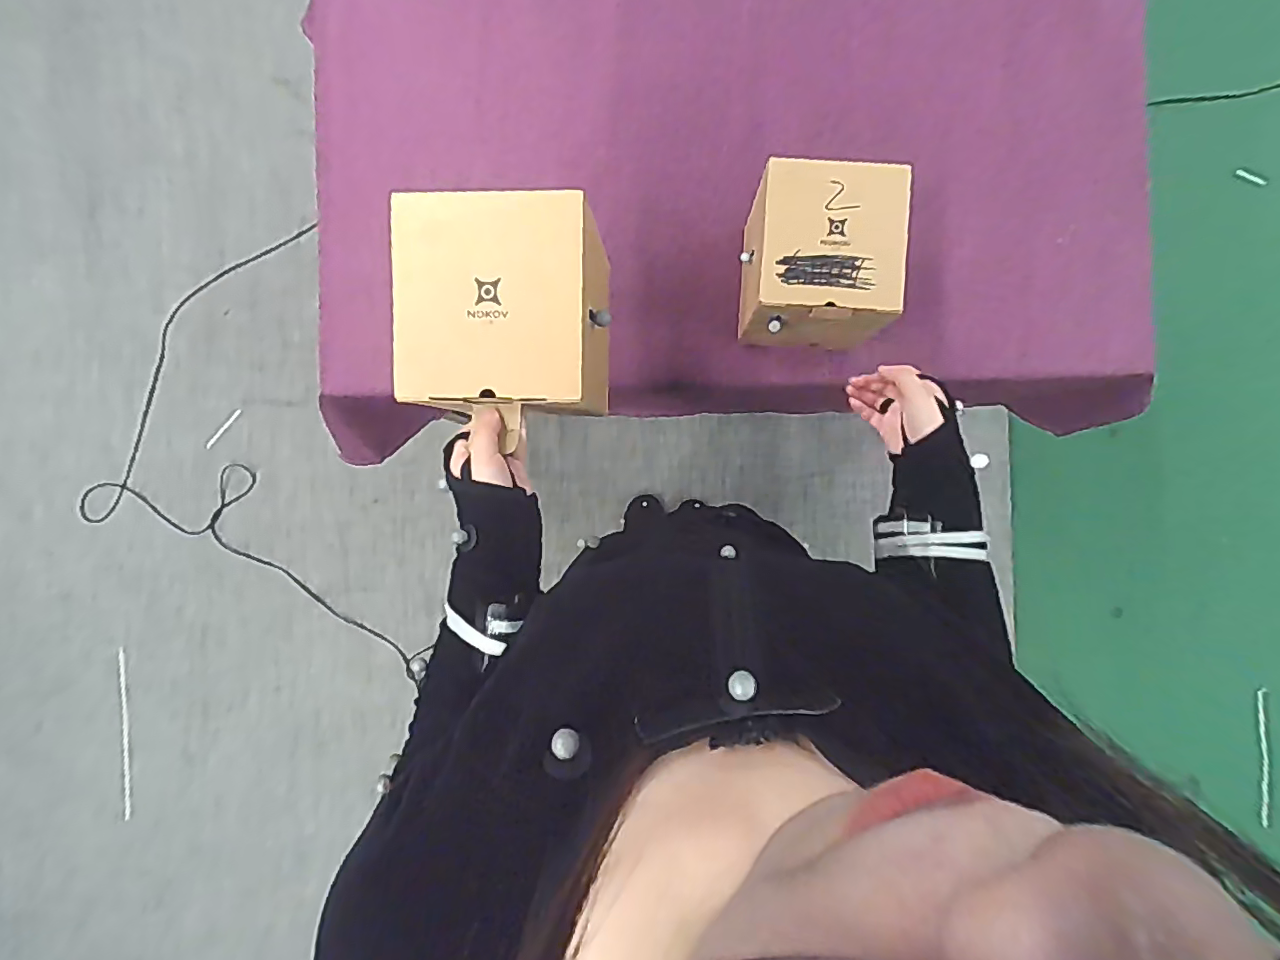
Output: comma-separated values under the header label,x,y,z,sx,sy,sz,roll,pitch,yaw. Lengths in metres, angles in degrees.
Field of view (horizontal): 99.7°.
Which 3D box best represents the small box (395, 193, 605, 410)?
label,x,y,z,sx,sy,sz,roll,pitch,yaw
small box,-0.128,-0.165,0.550,0.168,0.176,0.179,1,95,4
